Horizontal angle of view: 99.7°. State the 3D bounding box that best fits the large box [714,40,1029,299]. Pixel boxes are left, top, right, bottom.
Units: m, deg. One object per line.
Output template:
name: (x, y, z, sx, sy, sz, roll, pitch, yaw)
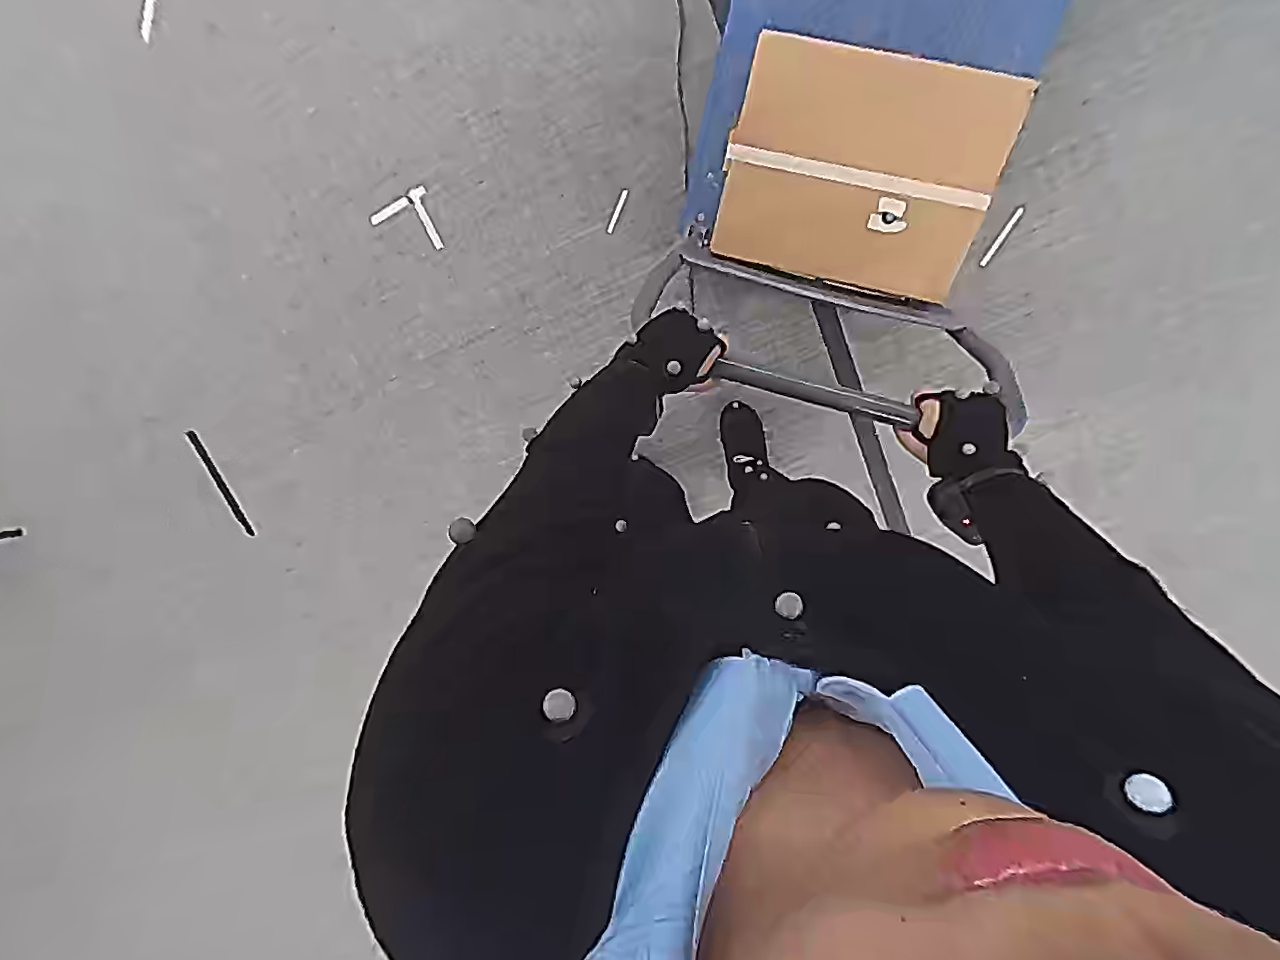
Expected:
large box: (0.371, -0.550, 0.996, 0.408, 0.320, 0.320, 14, 119, 4)
